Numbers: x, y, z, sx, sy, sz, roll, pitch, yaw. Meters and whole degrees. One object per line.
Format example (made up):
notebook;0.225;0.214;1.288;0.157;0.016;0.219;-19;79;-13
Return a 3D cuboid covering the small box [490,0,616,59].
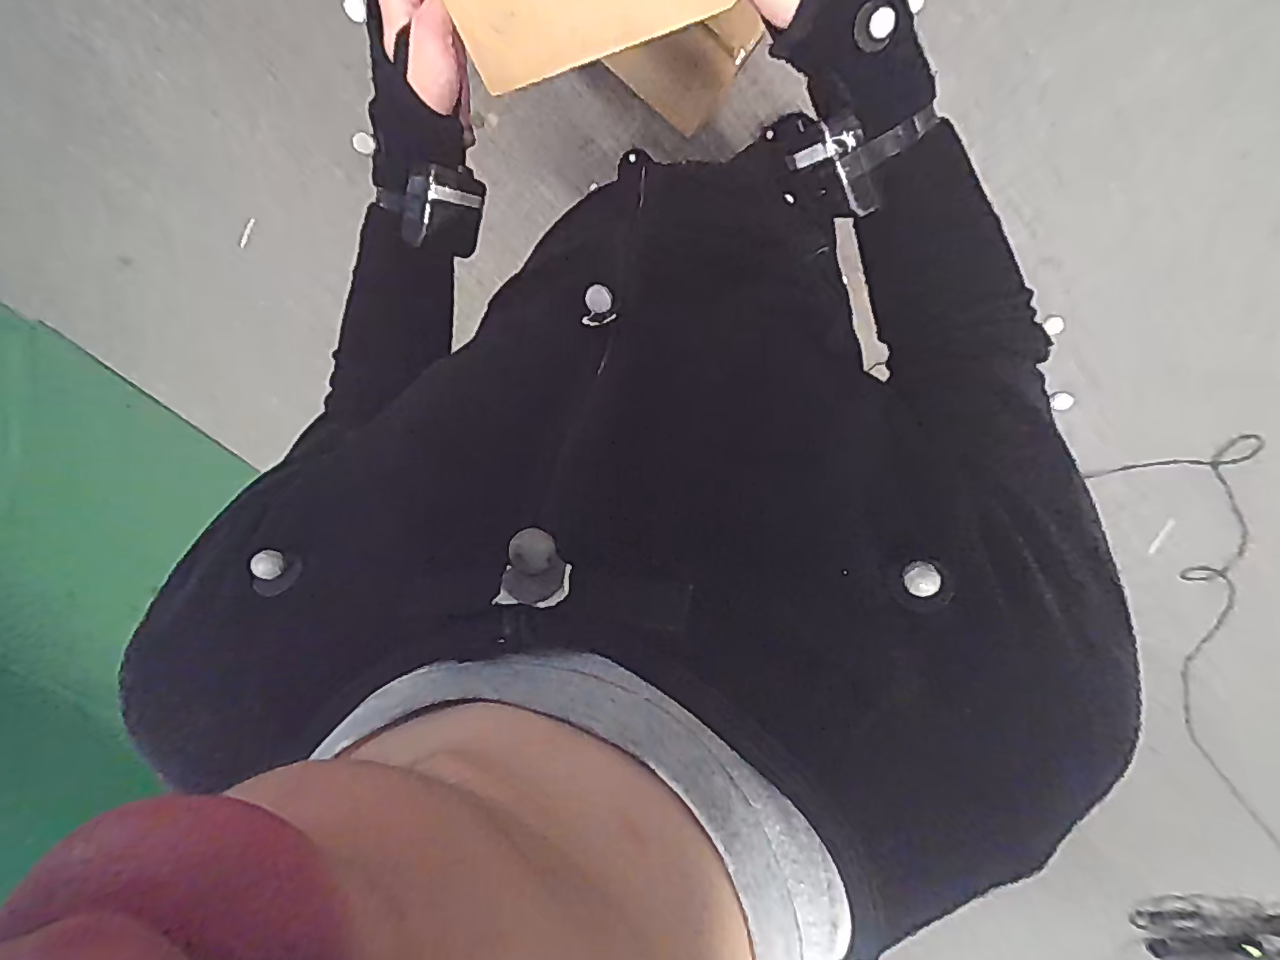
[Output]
small box;-0.128;-0.778;0.808;0.168;0.176;0.179;38;128;-12

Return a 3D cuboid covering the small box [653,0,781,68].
small box;0.126;-0.735;0.777;0.168;0.176;0.179;34;124;-12
